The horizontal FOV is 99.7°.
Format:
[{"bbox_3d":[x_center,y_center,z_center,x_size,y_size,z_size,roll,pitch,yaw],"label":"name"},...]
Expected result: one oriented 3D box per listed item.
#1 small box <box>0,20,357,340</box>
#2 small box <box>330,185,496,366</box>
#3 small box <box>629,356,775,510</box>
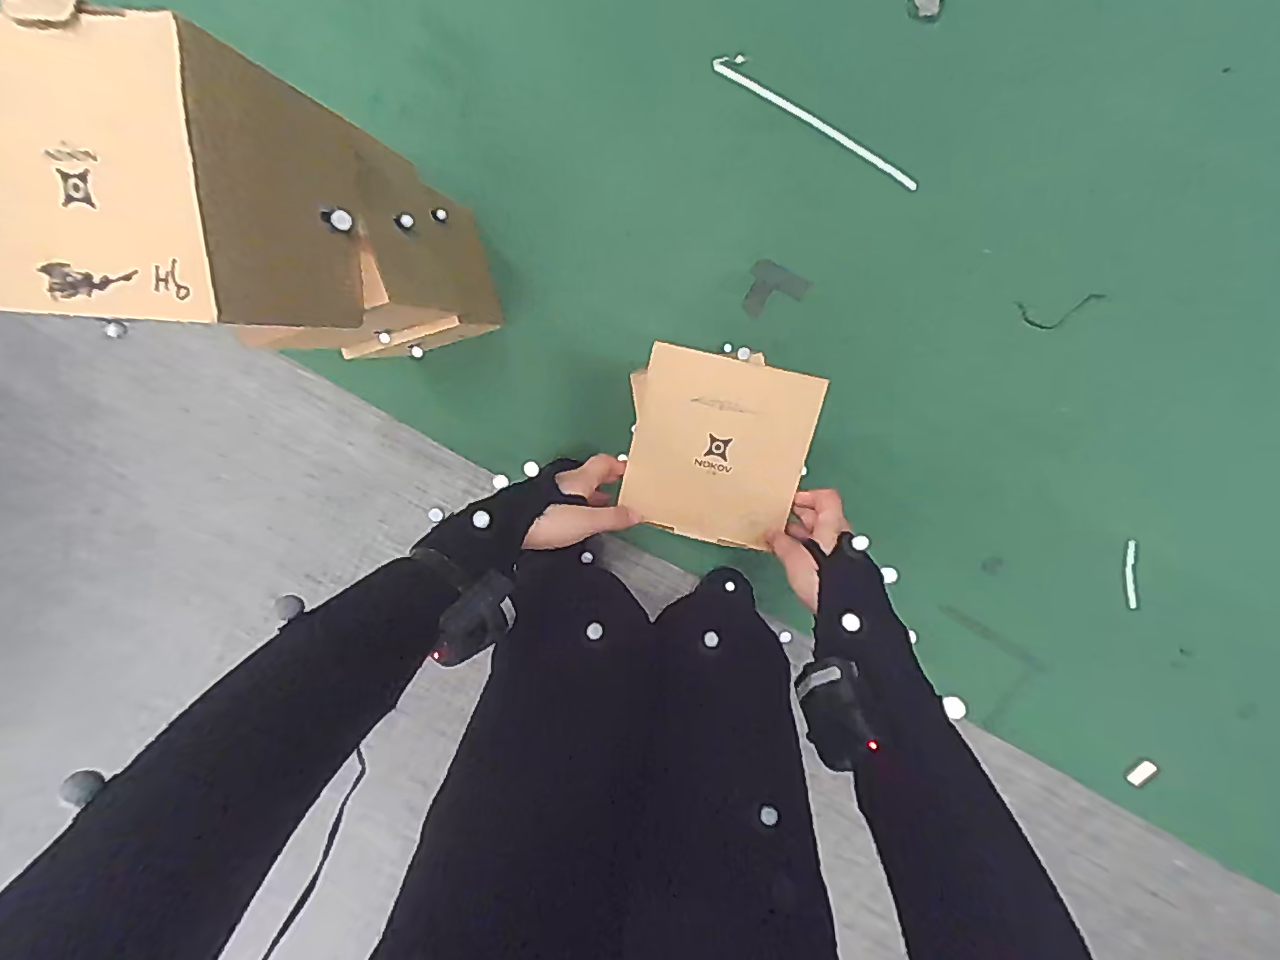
[{"bbox_3d":[-0.345,-0.203,0.413,0.168,0.176,0.179,4,105,4],"label":"small box"},{"bbox_3d":[-0.318,-0.265,0.735,0.168,0.176,0.179,-14,102,9],"label":"small box"},{"bbox_3d":[0.083,-0.073,0.748,0.168,0.176,0.179,-8,105,7],"label":"small box"}]
